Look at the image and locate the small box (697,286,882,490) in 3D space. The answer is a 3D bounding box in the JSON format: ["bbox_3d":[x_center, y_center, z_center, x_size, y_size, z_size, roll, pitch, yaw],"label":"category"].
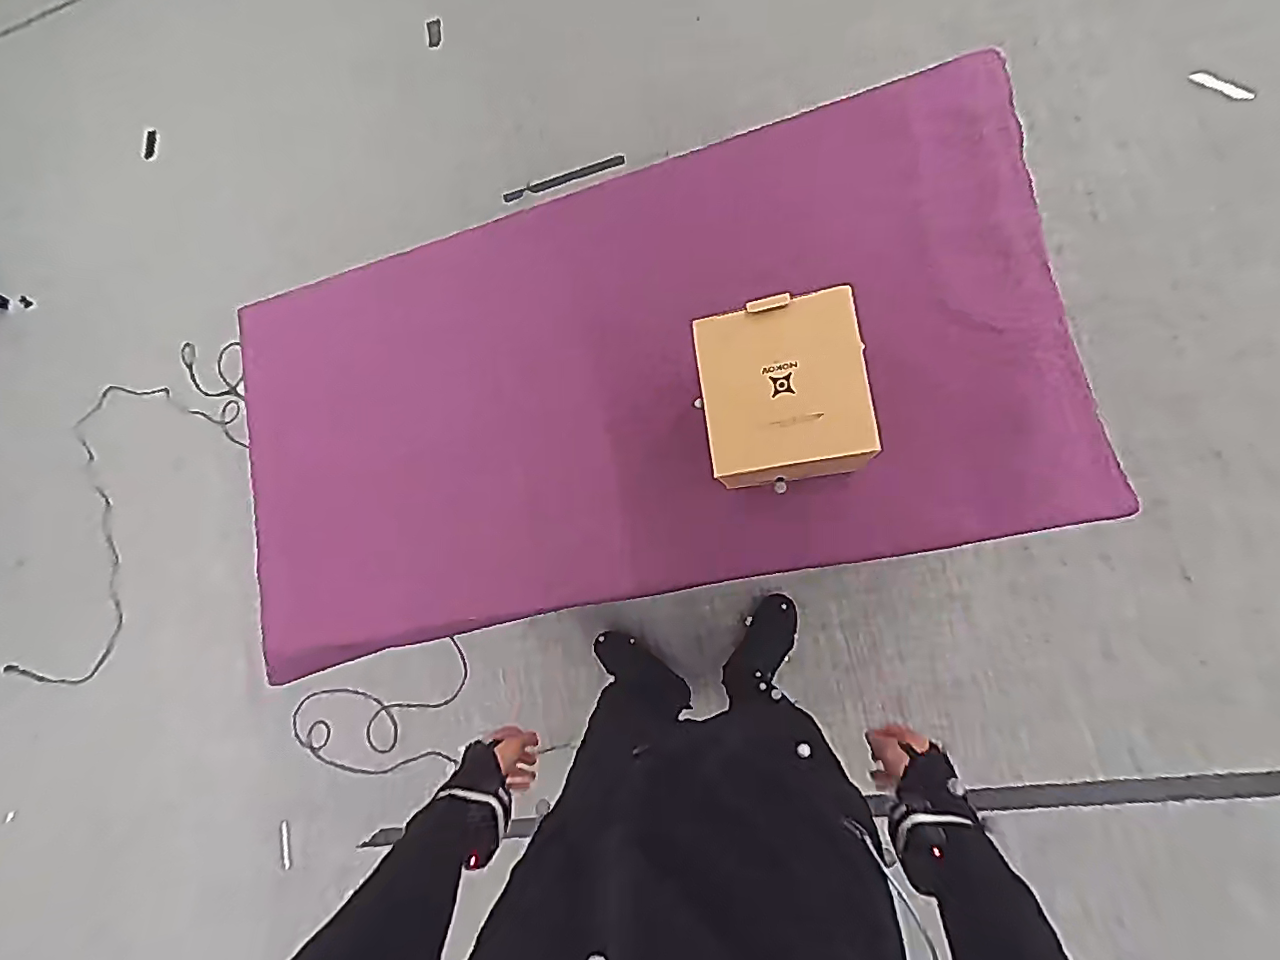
[{"bbox_3d":[0.166,-0.091,0.624,0.168,0.176,0.179,-8,82,15],"label":"small box"}]
